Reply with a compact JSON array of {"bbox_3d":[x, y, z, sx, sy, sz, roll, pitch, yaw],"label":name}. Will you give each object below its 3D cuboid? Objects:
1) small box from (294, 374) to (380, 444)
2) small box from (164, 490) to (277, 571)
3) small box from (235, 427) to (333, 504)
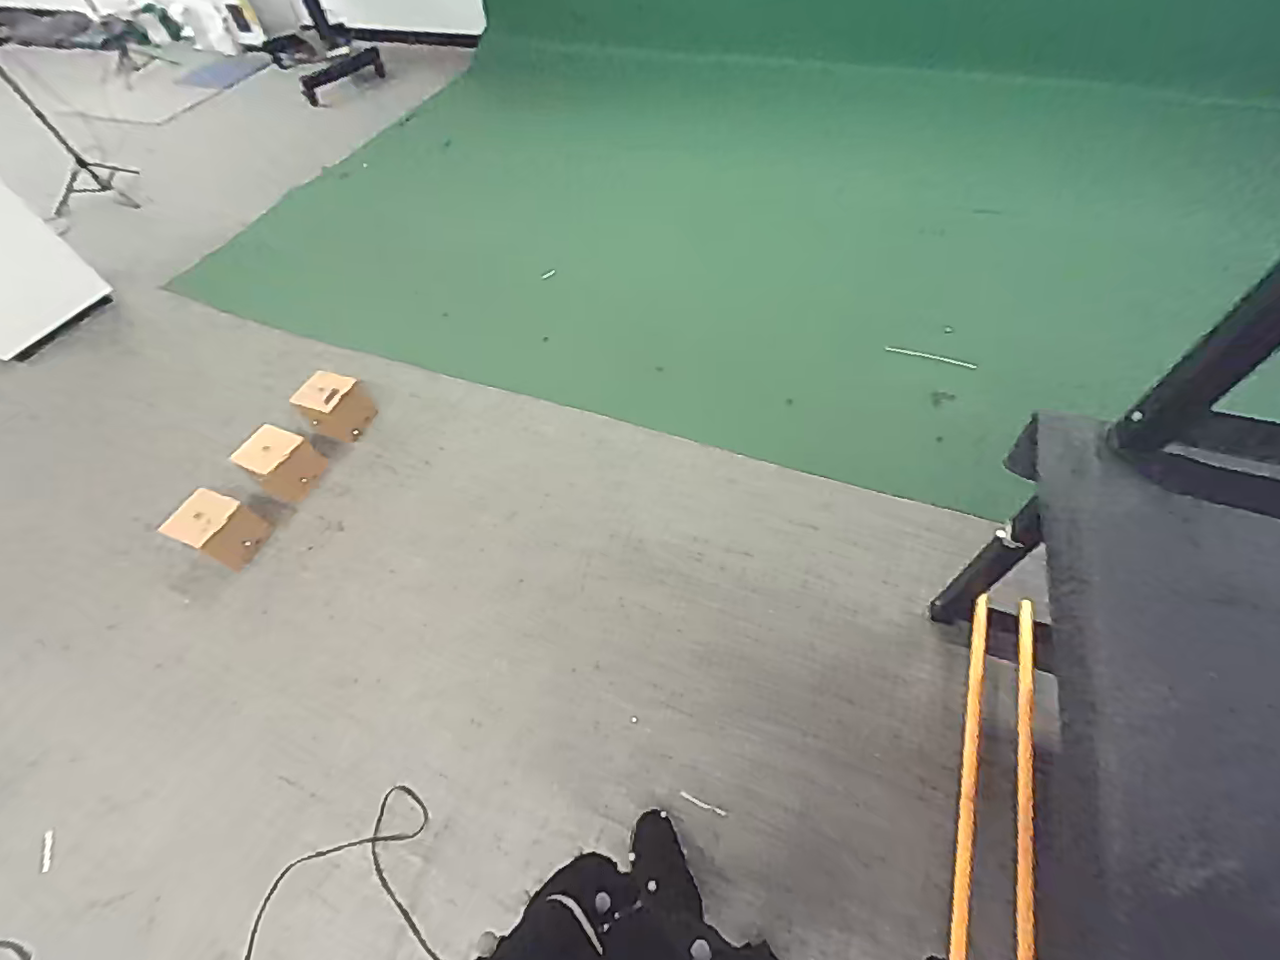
[{"bbox_3d":[-1.079,-0.252,1.945,0.179,0.176,0.168,15,57,15],"label":"small box"},{"bbox_3d":[-1.284,0.160,1.668,0.179,0.176,0.168,17,59,15],"label":"small box"},{"bbox_3d":[-1.182,-0.045,1.808,0.179,0.176,0.168,18,58,16],"label":"small box"}]
